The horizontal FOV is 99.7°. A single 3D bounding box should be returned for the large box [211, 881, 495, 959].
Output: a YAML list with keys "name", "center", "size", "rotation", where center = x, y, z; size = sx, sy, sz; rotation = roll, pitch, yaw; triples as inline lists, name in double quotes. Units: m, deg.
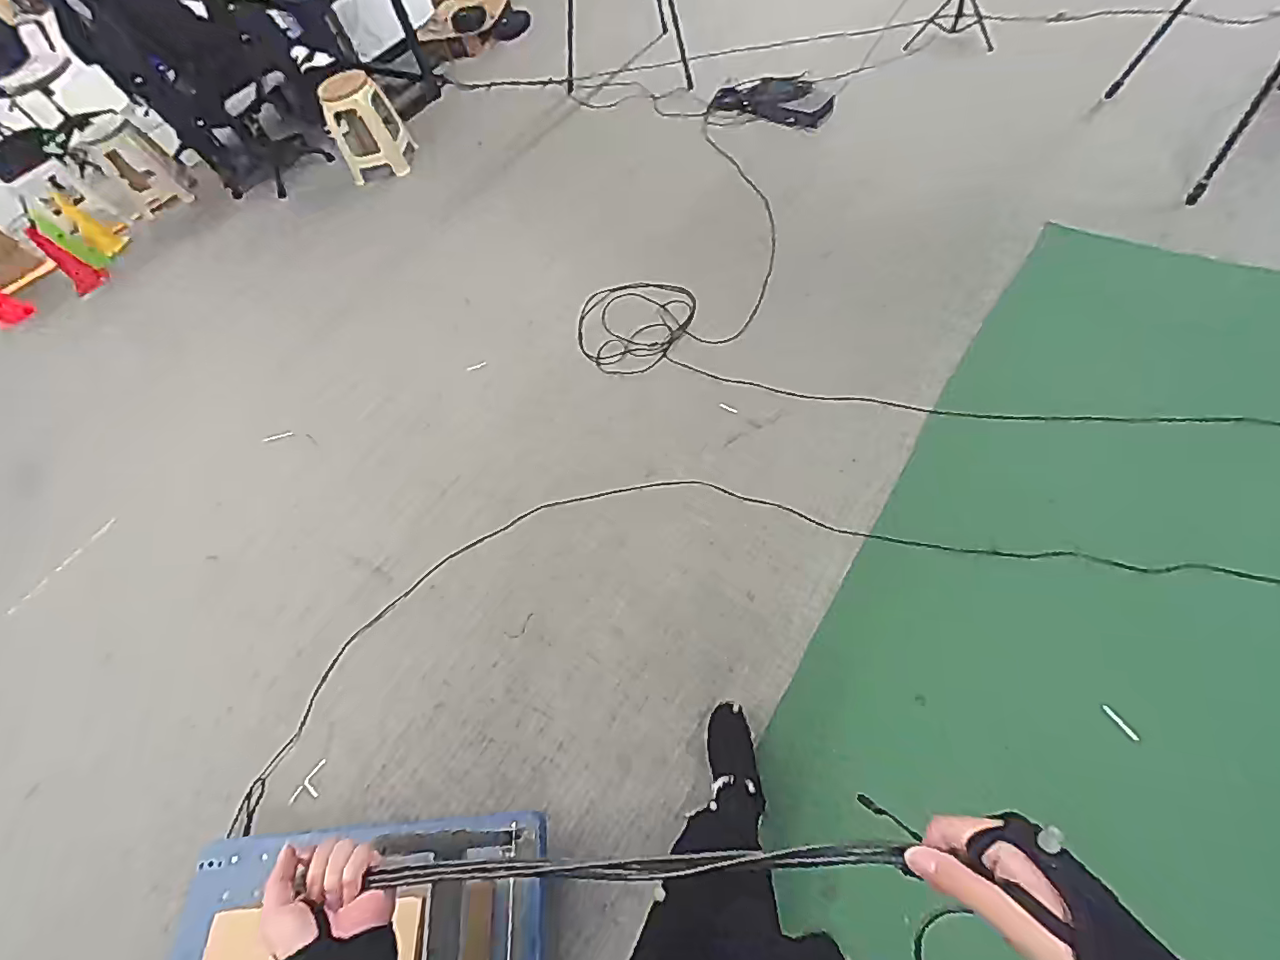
- name: "large box"
  center: [-0.517, 0.963, 0.994]
  size: [0.408, 0.320, 0.320]
  rotation: [-10, 57, 7]
